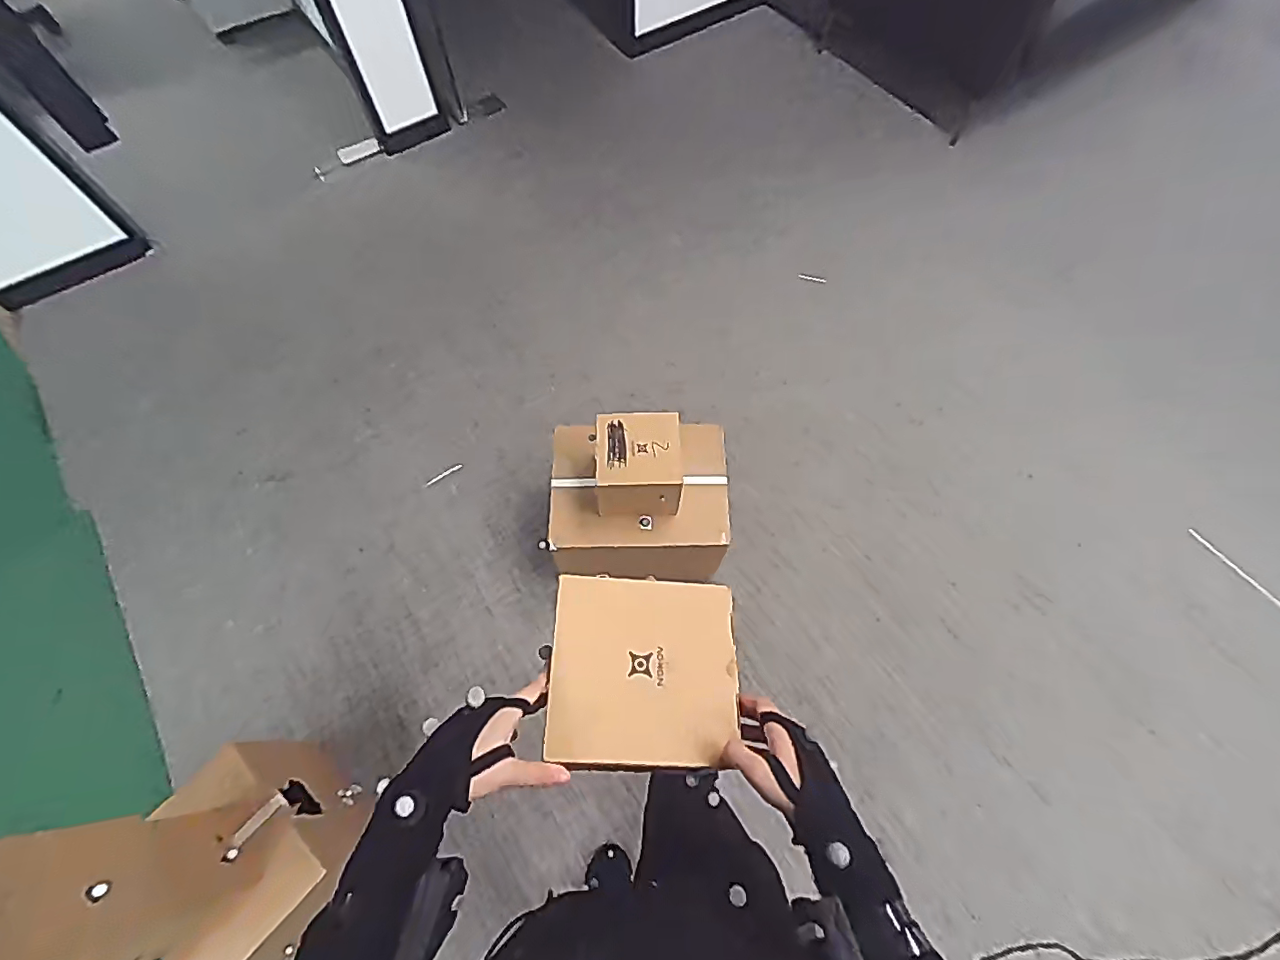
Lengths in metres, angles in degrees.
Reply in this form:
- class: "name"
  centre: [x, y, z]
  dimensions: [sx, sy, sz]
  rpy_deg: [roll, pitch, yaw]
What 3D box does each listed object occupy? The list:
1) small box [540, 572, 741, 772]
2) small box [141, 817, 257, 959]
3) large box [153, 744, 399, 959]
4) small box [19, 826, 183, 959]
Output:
- class: "small box"
  centre: [-0.007, 0.208, 0.567]
  dimensions: [0.179, 0.176, 0.168]
  rpy_deg: [5, 58, -7]
- class: "small box"
  centre: [-0.756, 0.665, 0.838]
  dimensions: [0.168, 0.176, 0.179]
  rpy_deg: [42, 71, 17]
- class: "large box"
  centre: [-0.773, 0.790, 1.049]
  dimensions: [0.320, 0.320, 0.408]
  rpy_deg: [38, 71, 18]
- class: "small box"
  centre: [-0.752, 0.585, 0.694]
  dimensions: [0.168, 0.176, 0.179]
  rpy_deg: [-40, 71, -17]
